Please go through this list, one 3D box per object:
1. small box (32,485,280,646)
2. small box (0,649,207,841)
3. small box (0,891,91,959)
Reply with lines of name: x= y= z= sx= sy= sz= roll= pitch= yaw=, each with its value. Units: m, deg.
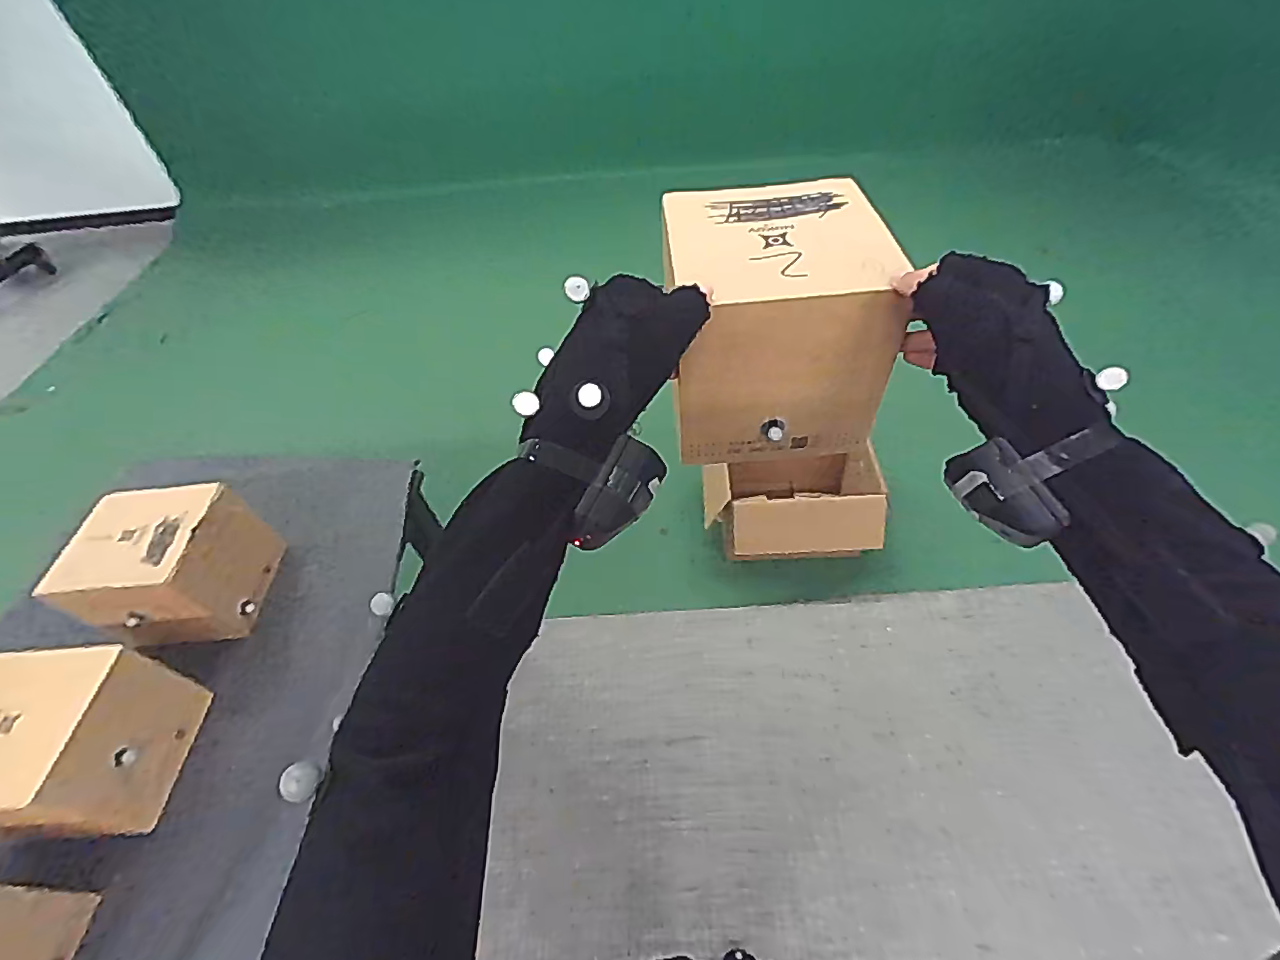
small box: x=-0.676 y=0.128 z=0.787 sx=0.179 sy=0.176 sz=0.168 roll=-6 pitch=50 yaw=2
small box: x=-0.674 y=0.313 z=0.635 sx=0.179 sy=0.176 sz=0.168 roll=-5 pitch=50 yaw=2
small box: x=-0.691 y=0.484 z=0.491 sx=0.179 sy=0.176 sz=0.168 roll=-5 pitch=50 yaw=1
